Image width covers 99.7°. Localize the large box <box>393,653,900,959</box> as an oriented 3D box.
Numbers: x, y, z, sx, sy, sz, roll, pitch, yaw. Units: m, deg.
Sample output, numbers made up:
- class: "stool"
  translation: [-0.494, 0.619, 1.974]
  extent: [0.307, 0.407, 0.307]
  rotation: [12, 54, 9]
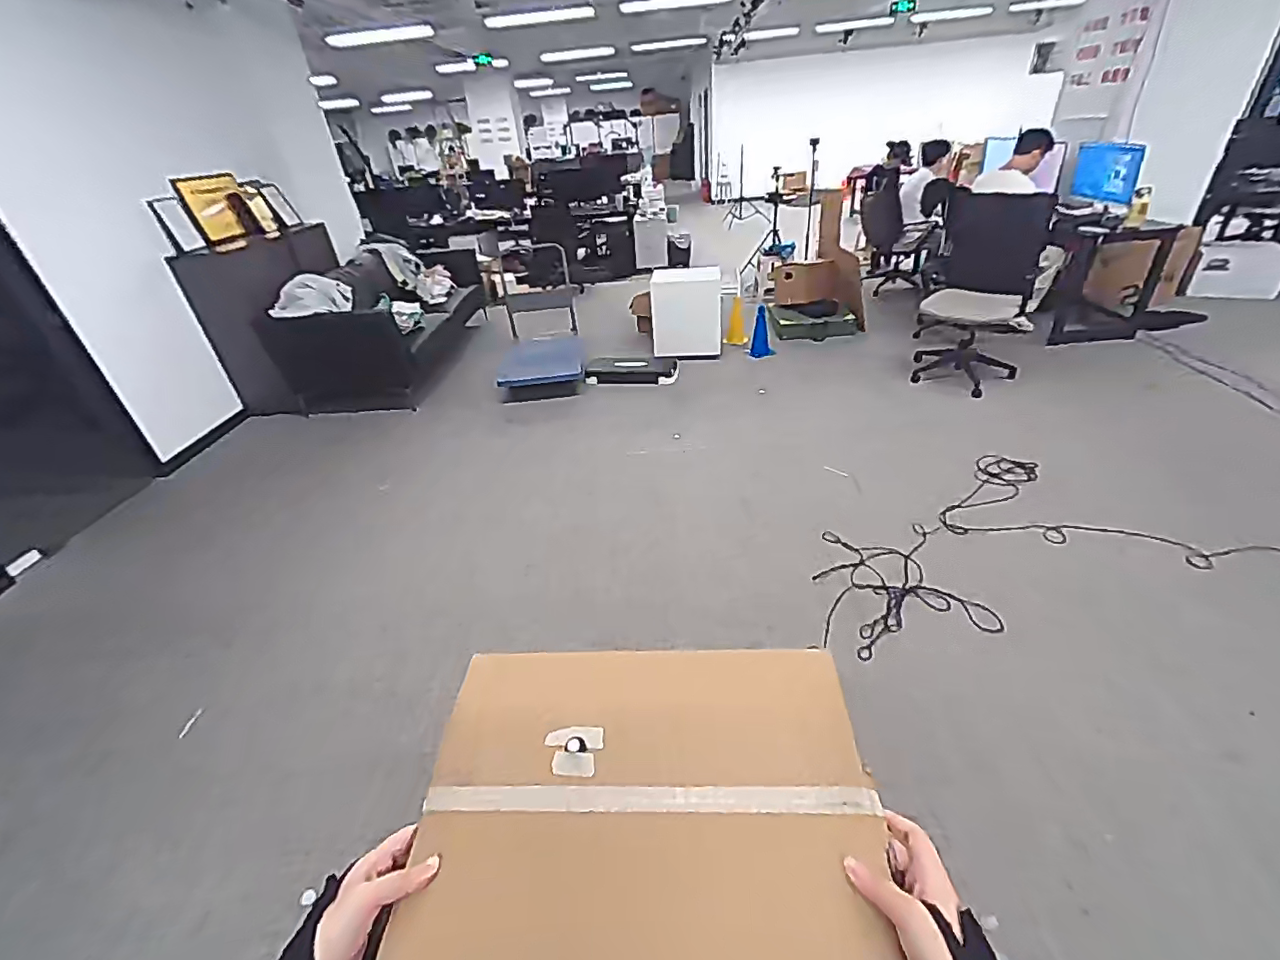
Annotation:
- class: "large box"
  translation: [0.020, 0.419, 0.593]
  extent: [0.408, 0.320, 0.320]
  rotation: [-4, 38, 7]
